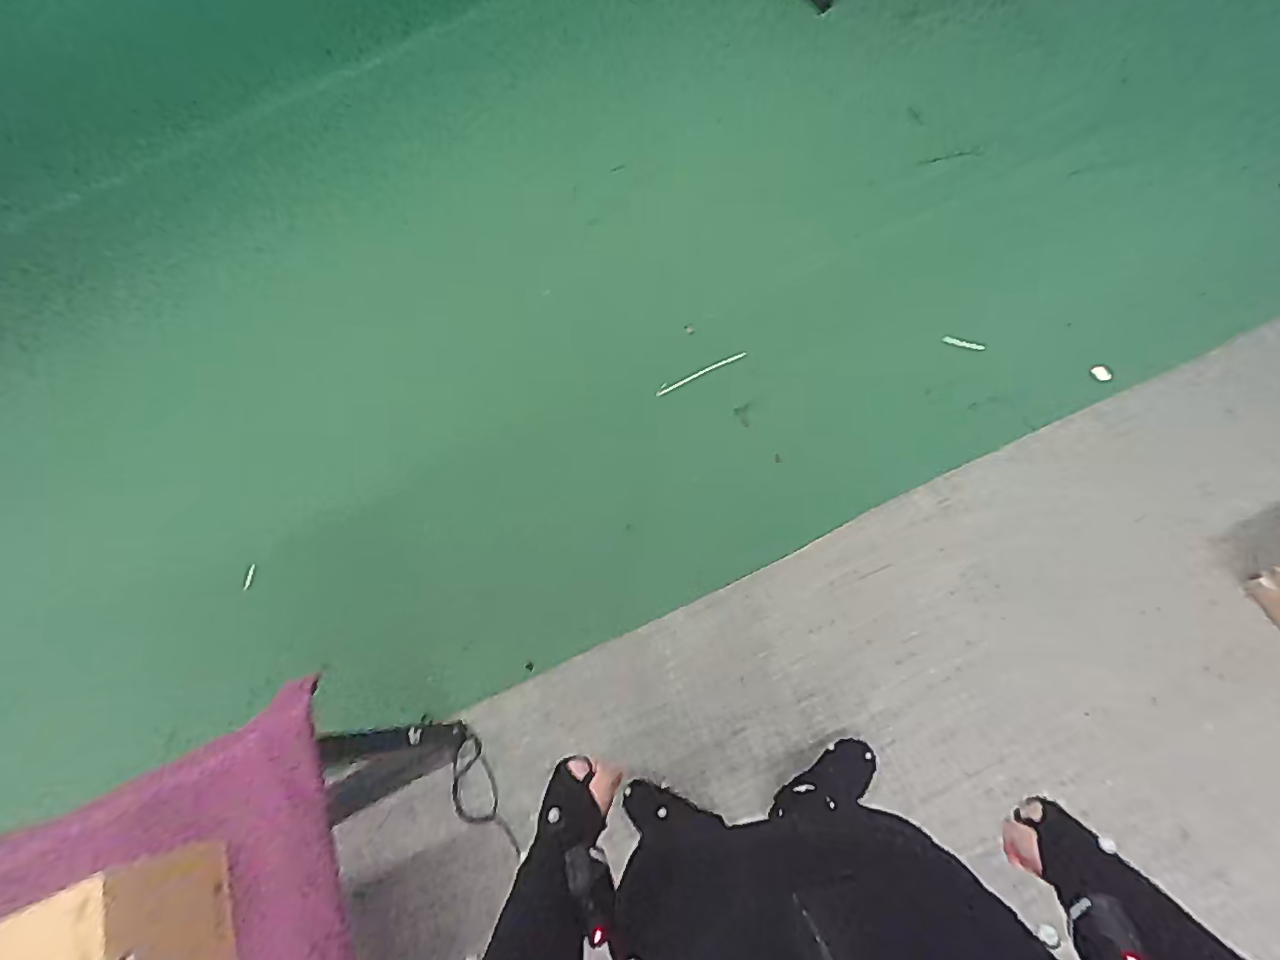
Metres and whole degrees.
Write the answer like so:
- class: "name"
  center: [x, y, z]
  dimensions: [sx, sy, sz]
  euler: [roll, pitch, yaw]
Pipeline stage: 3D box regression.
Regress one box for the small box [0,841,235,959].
- class: "small box"
  center: [-0.650, 0.583, 0.662]
  dimensions: [0.179, 0.176, 0.168]
  euler: [-26, 68, 0]
